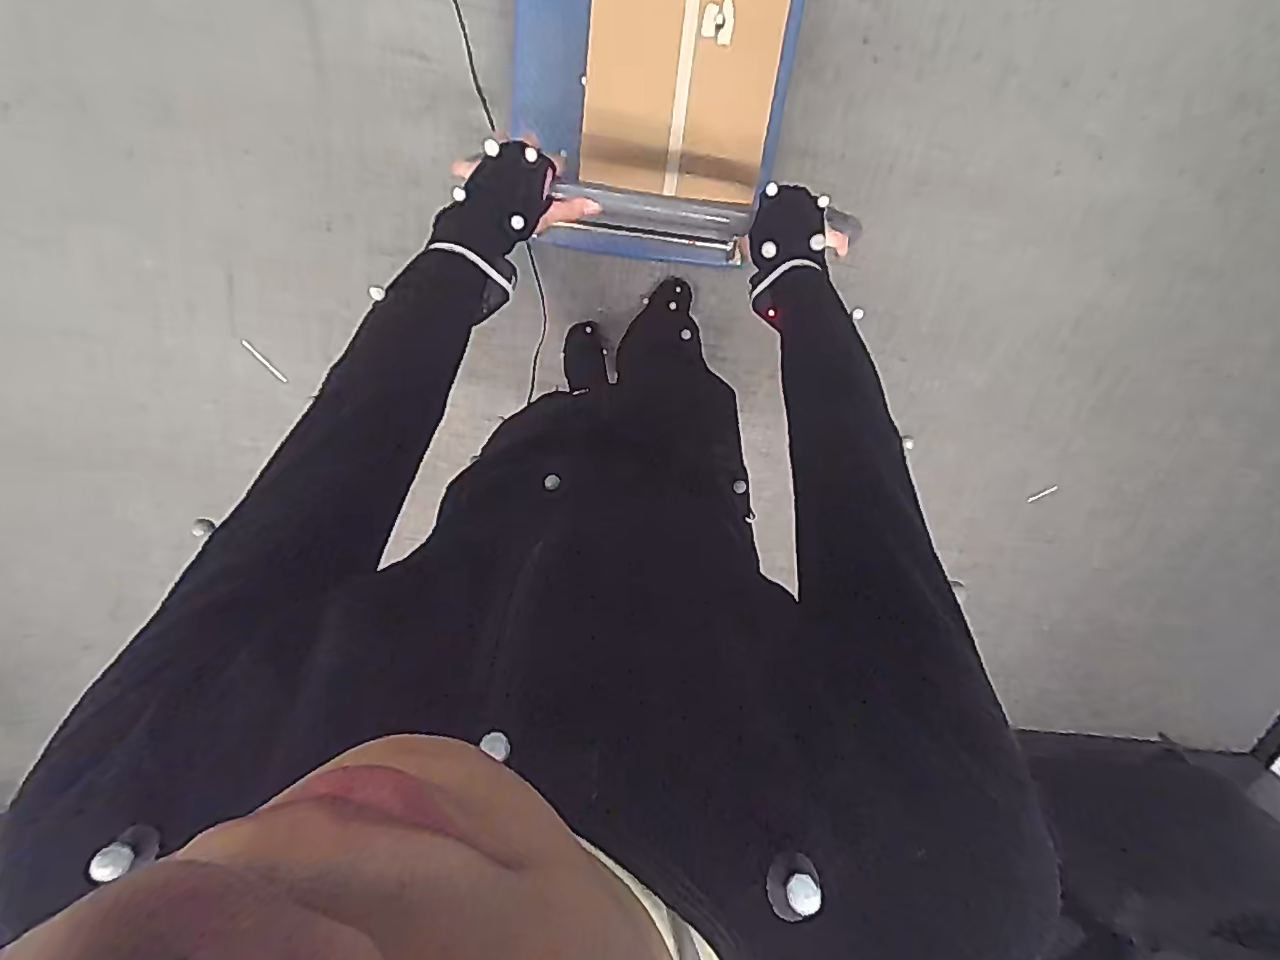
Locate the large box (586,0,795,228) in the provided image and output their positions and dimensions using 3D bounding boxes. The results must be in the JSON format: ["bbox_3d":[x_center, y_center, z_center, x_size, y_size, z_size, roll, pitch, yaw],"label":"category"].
[{"bbox_3d":[0.073,-0.714,1.015,0.320,0.320,0.408,5,112,-6],"label":"large box"}]
